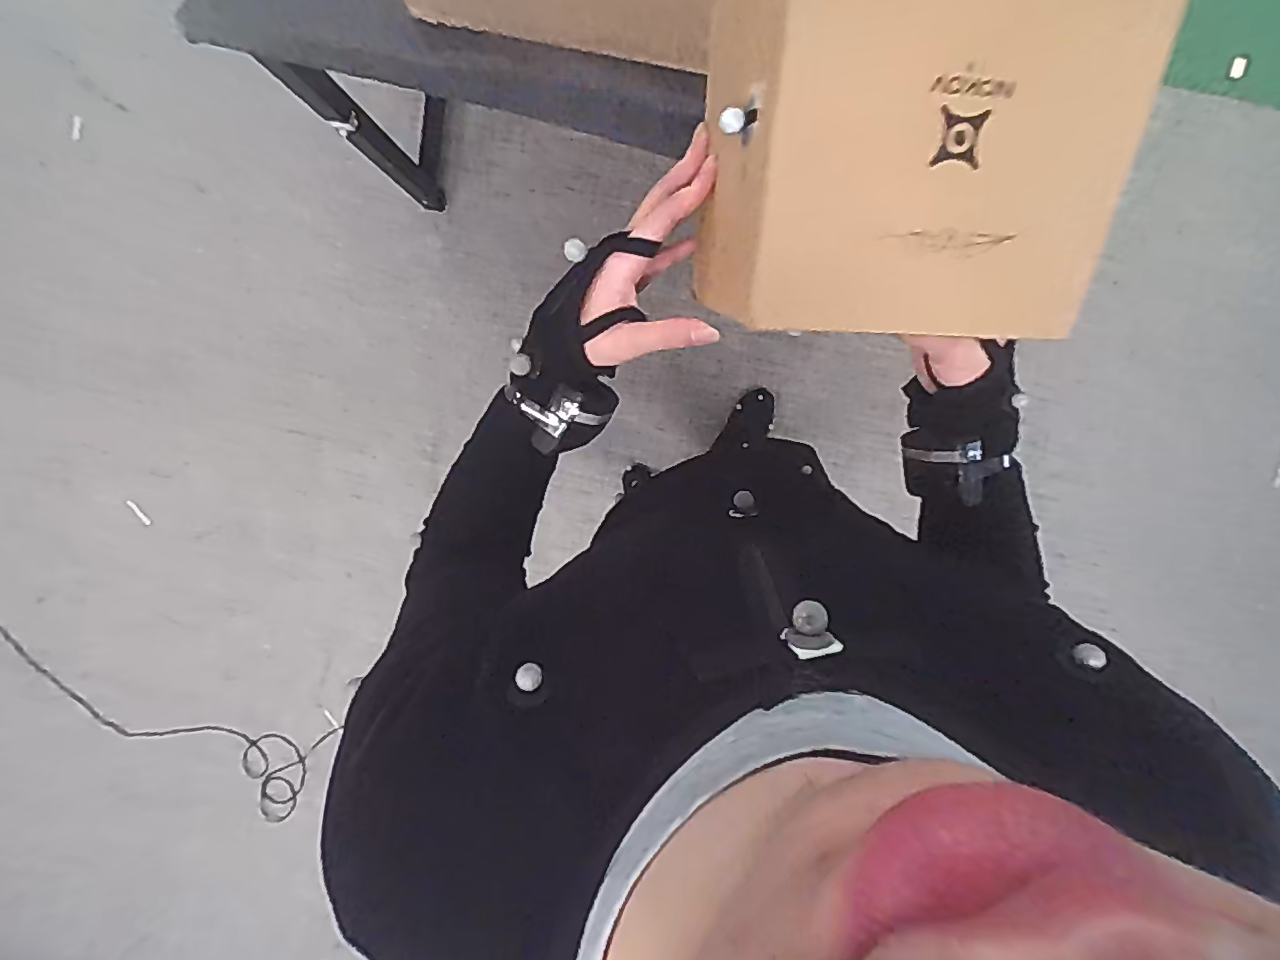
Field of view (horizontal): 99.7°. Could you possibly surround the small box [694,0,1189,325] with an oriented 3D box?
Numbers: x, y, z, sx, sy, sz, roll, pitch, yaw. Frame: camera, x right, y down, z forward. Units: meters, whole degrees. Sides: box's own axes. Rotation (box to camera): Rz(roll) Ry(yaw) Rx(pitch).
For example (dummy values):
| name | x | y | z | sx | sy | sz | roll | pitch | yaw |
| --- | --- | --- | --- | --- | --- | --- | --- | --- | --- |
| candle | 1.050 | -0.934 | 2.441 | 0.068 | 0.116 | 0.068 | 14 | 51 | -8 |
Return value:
| name | x | y | z | sx | sy | sz | roll | pitch | yaw |
| --- | --- | --- | --- | --- | --- | --- | --- | --- | --- |
| small box | 0.131 | -0.192 | 0.301 | 0.168 | 0.176 | 0.179 | 2 | 114 | -6 |
